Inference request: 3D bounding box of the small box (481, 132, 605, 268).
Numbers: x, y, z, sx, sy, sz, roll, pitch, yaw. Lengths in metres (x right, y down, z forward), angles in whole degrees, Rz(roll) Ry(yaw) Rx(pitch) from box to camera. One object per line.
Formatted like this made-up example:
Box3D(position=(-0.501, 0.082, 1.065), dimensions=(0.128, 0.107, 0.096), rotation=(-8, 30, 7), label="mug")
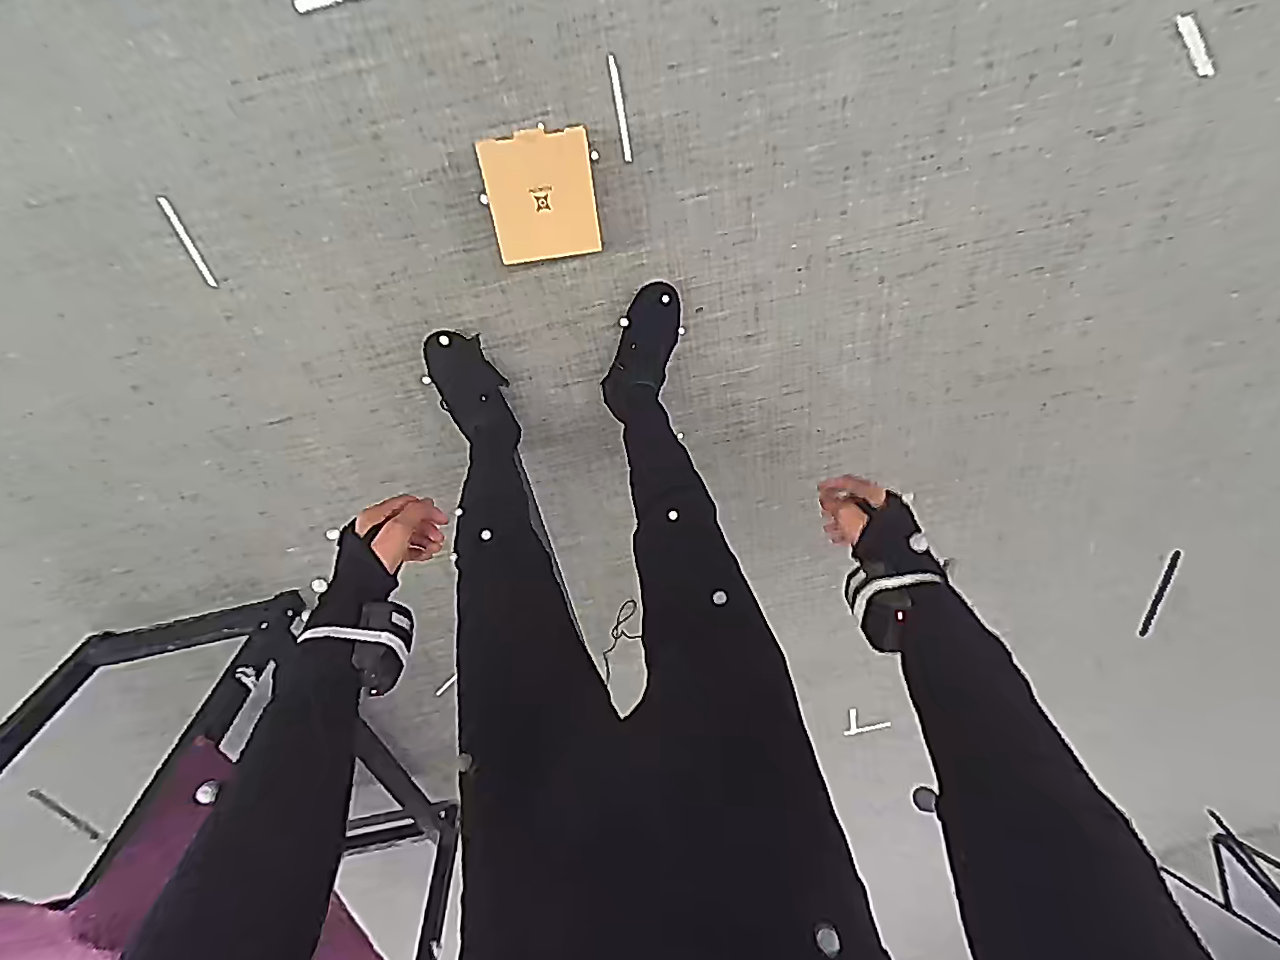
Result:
Box3D(position=(-0.150, -0.474, 0.907), dimensions=(0.168, 0.176, 0.179), rotation=(-9, 122, 0), label="small box")
